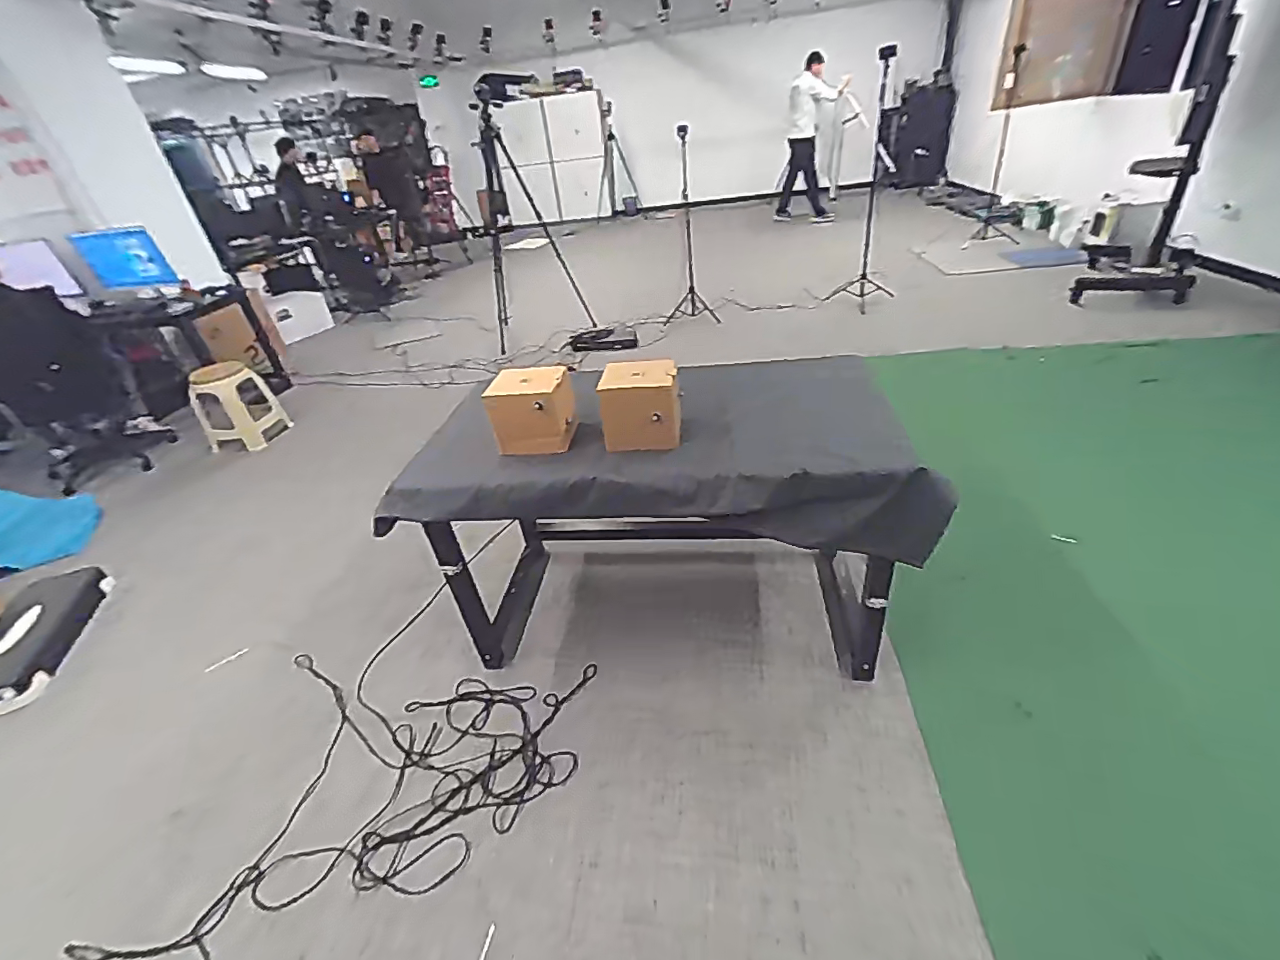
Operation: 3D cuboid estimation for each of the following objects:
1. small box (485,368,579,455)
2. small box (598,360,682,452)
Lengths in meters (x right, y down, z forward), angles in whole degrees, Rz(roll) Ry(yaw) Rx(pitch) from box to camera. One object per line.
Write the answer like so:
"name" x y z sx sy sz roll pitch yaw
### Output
"small box" -0.267 -0.173 1.380 0.179 0.176 0.168 -2 33 8
"small box" 0.009 -0.180 1.330 0.179 0.176 0.168 -3 32 10
